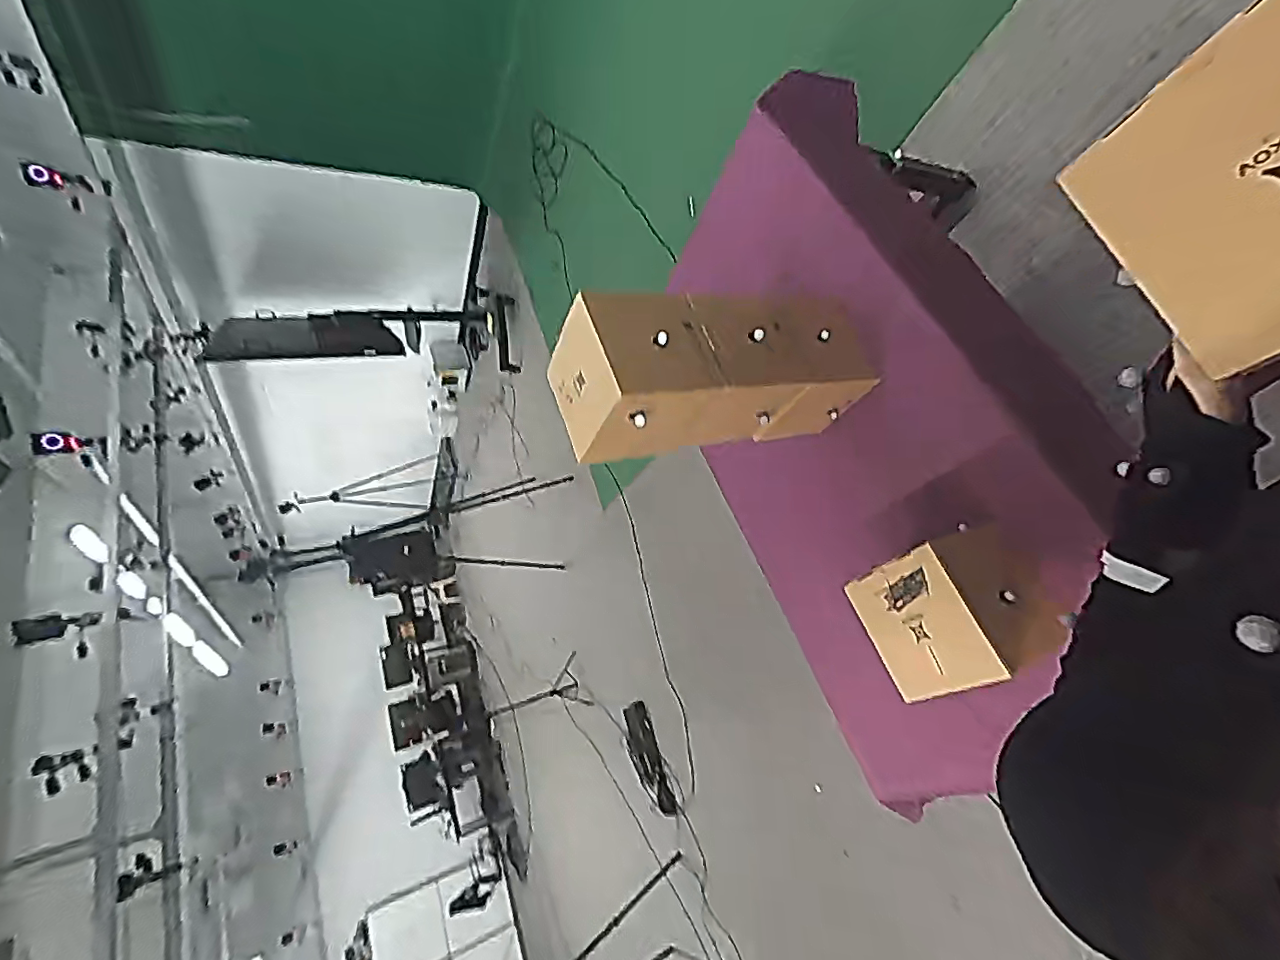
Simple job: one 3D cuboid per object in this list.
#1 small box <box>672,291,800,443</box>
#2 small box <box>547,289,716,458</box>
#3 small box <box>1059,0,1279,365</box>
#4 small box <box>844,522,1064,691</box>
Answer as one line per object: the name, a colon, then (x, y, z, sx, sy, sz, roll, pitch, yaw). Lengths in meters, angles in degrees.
small box: (0.129, -0.178, 0.863, 0.179, 0.176, 0.168, -46, 59, 53)
small box: (-0.011, -0.152, 0.778, 0.179, 0.176, 0.168, -49, 56, 54)
small box: (0.425, -0.195, 0.331, 0.168, 0.176, 0.179, -47, 59, 57)
small box: (0.437, 0.172, 0.765, 0.168, 0.176, 0.179, -53, 54, 51)
